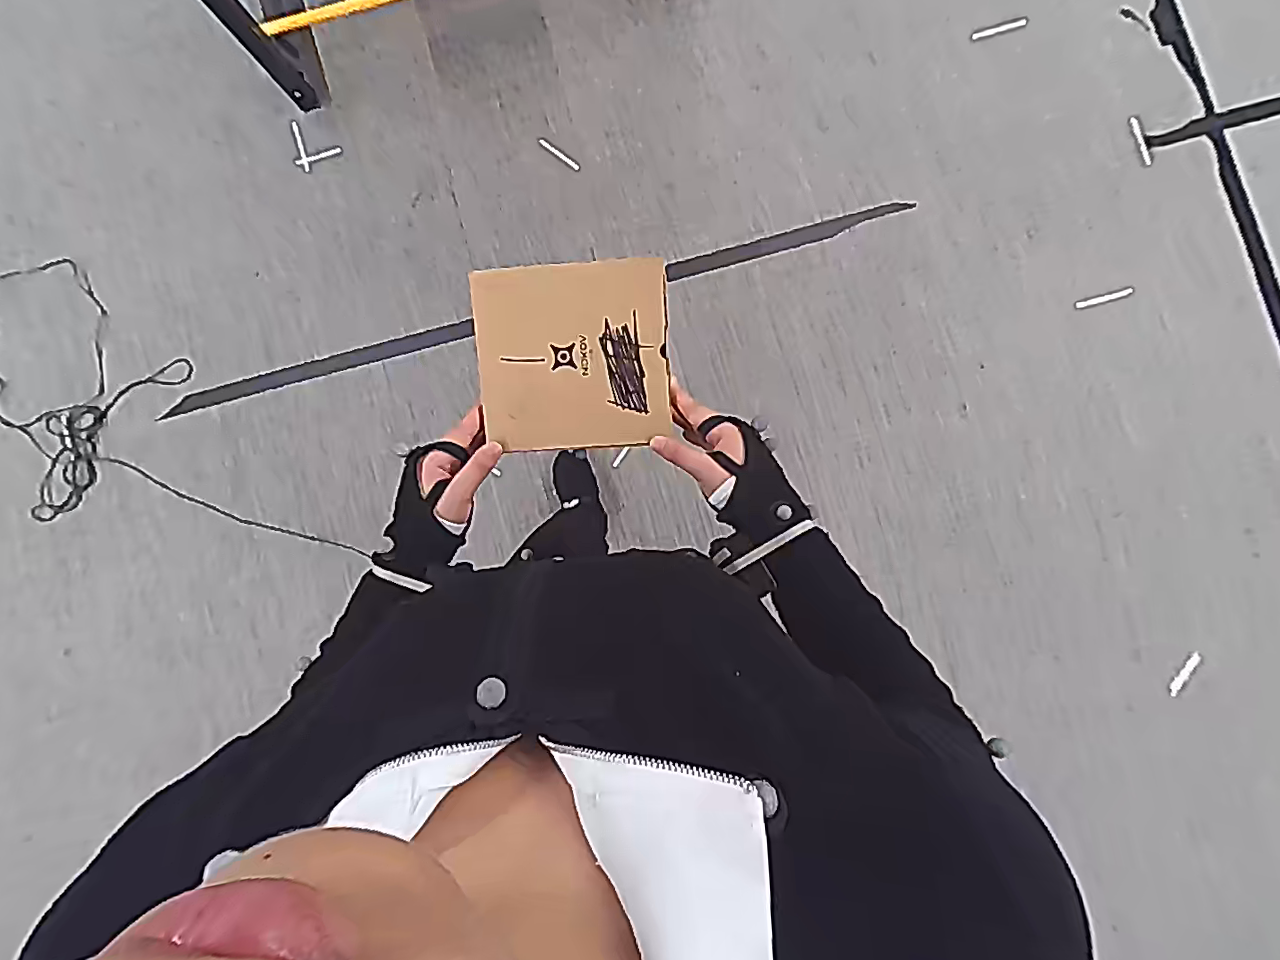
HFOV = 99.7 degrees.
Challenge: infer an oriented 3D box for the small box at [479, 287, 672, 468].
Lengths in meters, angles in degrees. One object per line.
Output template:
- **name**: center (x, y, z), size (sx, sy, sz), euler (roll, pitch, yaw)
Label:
- **small box**: center (-0.059, -0.106, 0.589), size (0.179, 0.176, 0.168), euler (-3, 97, 2)
